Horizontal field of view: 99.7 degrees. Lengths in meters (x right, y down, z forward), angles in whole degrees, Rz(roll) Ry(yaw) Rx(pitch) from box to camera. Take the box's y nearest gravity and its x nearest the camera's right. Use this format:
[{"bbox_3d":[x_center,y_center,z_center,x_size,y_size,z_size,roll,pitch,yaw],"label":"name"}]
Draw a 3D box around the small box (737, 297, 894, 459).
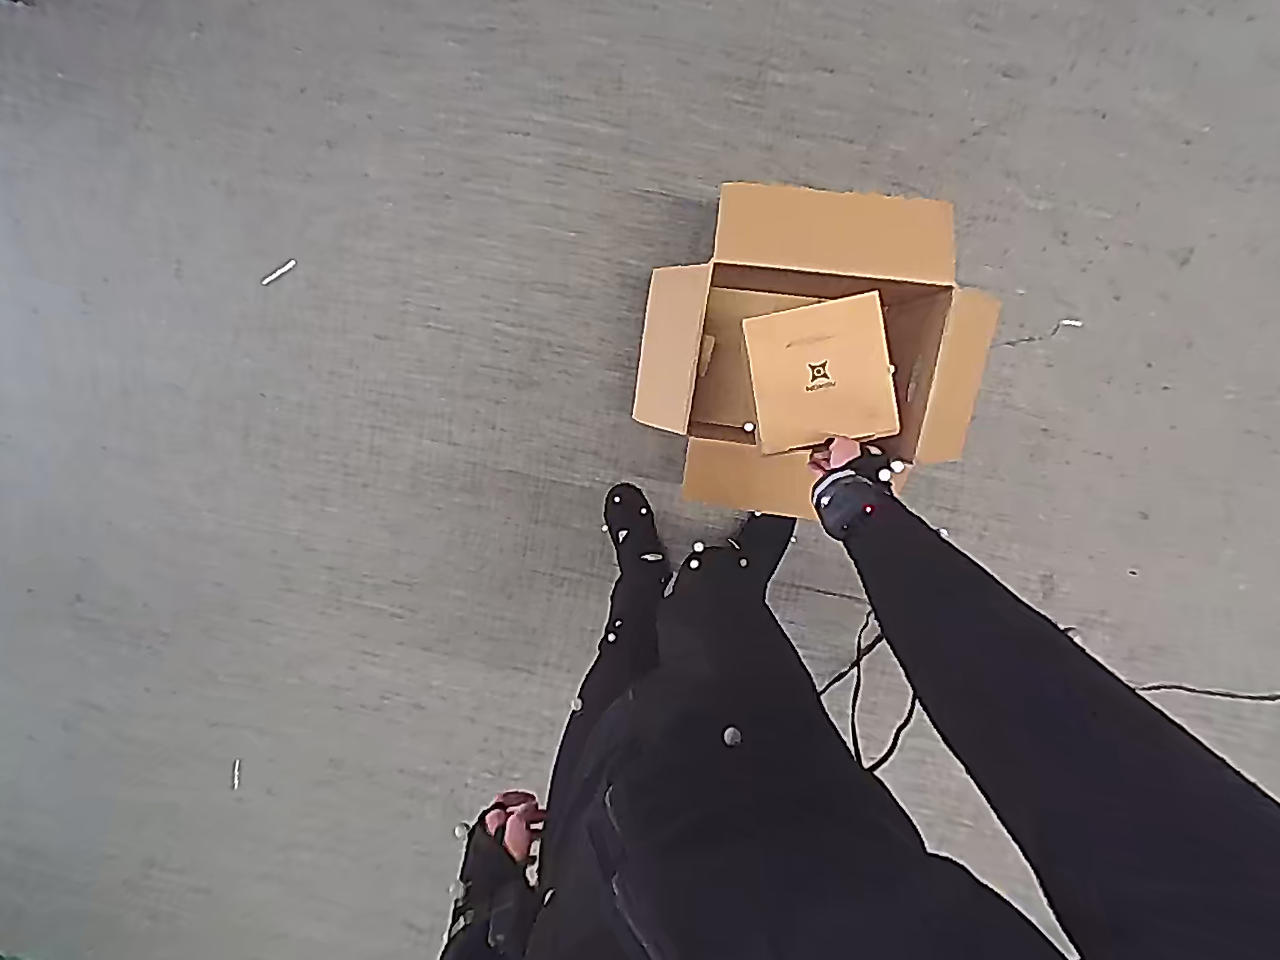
[{"bbox_3d":[0.232,-0.128,0.751,0.168,0.176,0.179,-11,88,10],"label":"small box"}]
